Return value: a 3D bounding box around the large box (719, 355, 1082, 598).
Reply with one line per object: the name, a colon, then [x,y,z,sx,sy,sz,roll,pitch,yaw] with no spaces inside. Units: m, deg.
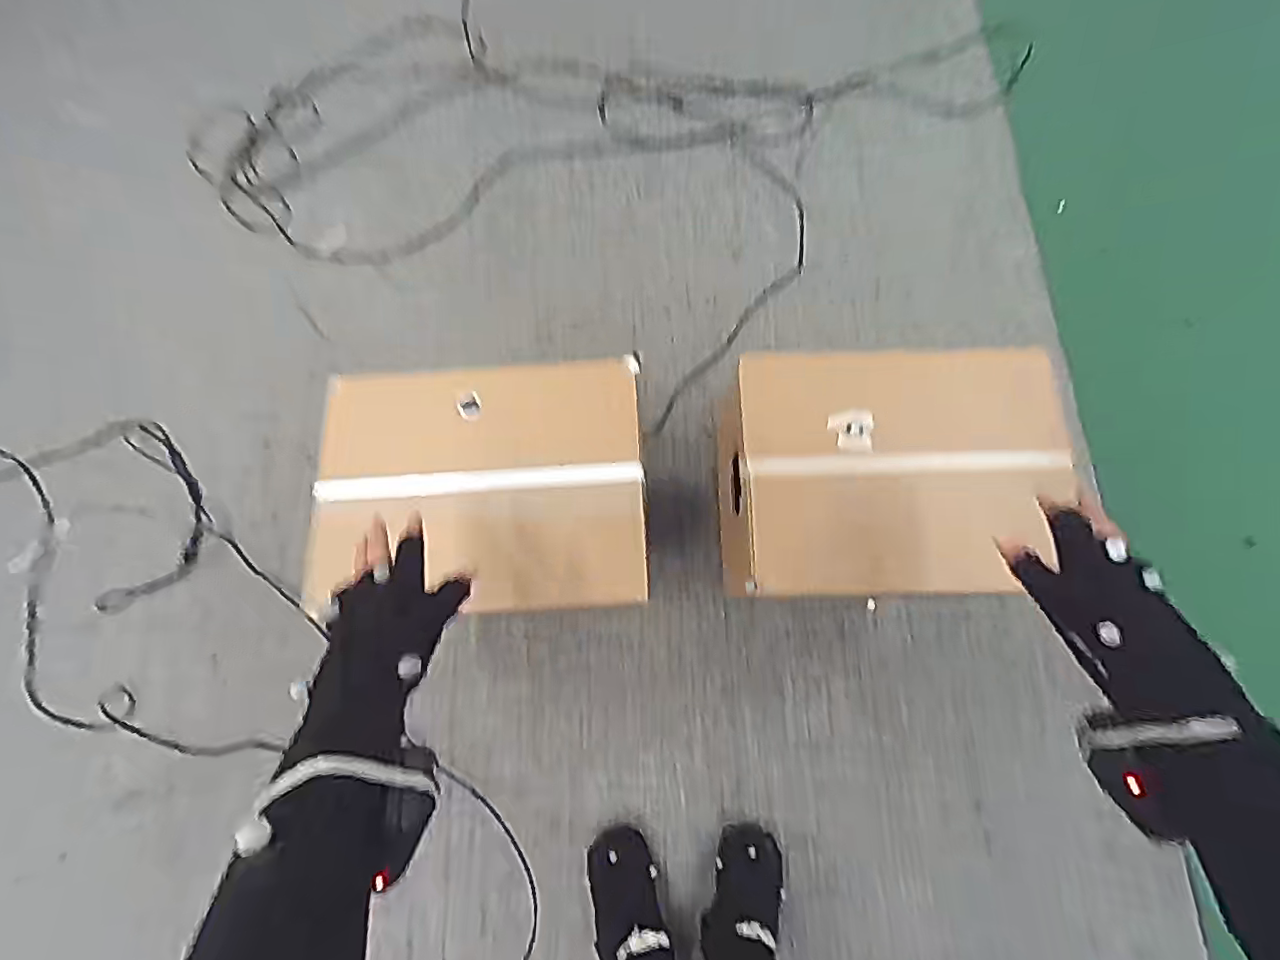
large box: [0.343,0.019,0.835,0.408,0.320,0.320,-1,77,1]
